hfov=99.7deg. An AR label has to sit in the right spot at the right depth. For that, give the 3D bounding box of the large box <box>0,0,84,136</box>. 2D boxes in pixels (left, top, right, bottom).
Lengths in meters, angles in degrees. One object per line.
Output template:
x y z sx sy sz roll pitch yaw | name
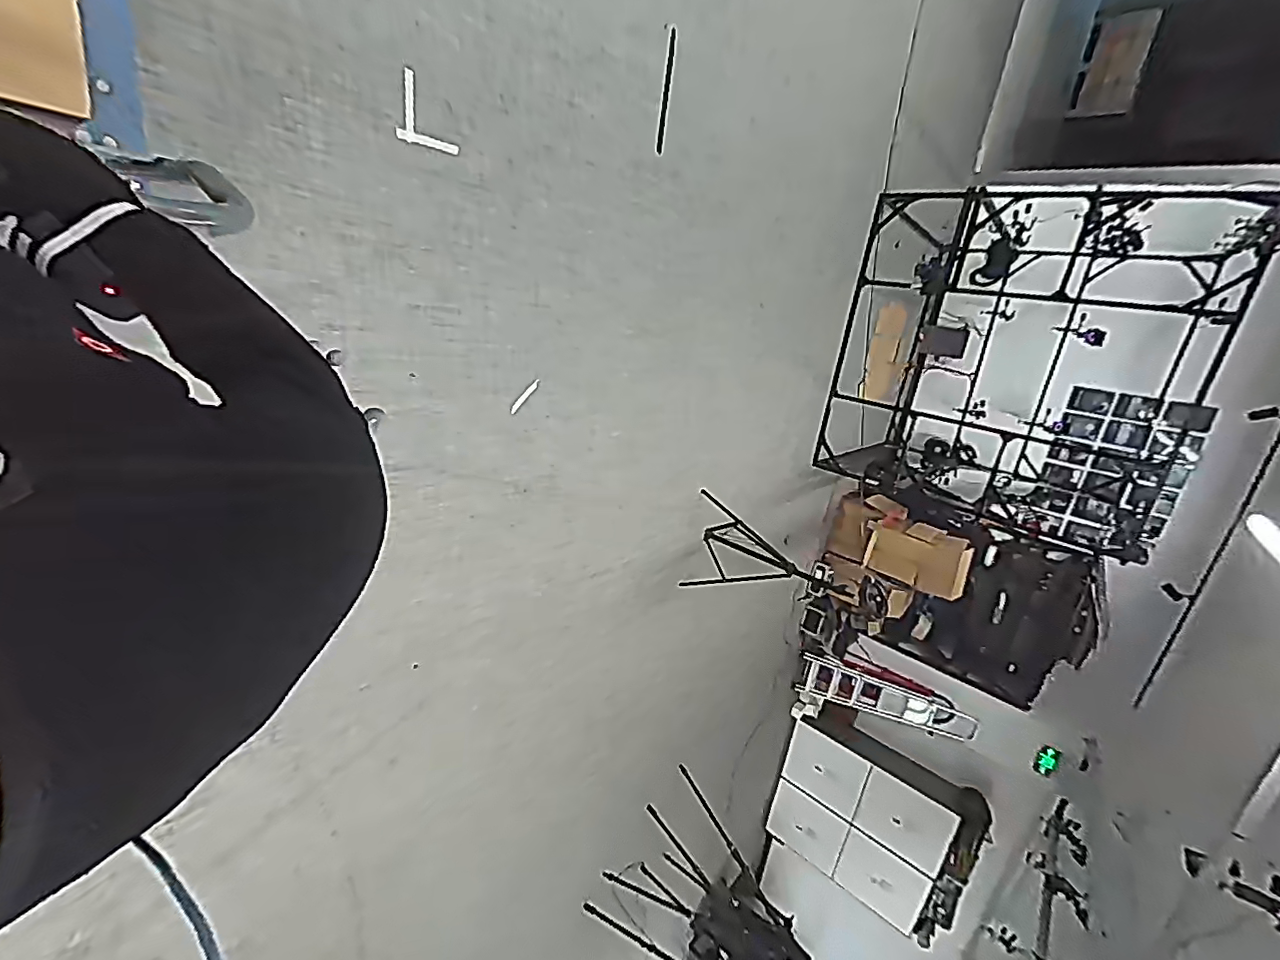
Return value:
-0.900 -0.594 0.548 0.408 0.320 0.320 -14 119 -51 | large box
